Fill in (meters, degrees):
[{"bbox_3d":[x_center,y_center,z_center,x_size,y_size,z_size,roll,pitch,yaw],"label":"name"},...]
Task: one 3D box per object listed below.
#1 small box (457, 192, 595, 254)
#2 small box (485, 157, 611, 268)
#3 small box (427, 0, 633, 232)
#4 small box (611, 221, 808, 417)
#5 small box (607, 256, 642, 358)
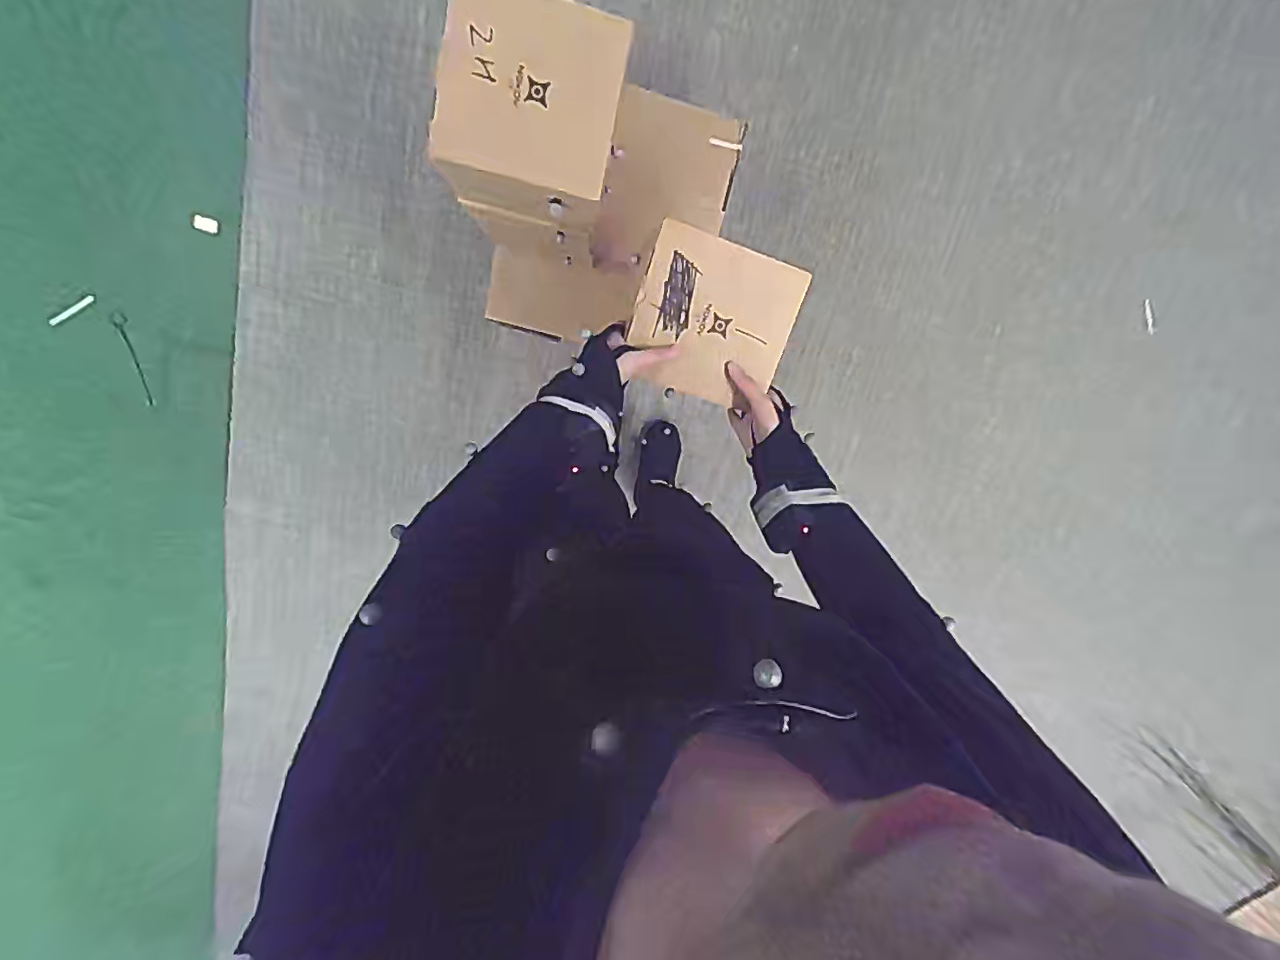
[{"bbox_3d":[-0.143,-0.434,0.767,0.179,0.176,0.168,10,102,-10],"label":"small box"},{"bbox_3d":[-0.153,-0.470,0.924,0.179,0.176,0.168,10,103,-7],"label":"small box"},{"bbox_3d":[-0.117,-0.396,0.608,0.179,0.176,0.168,12,101,-9],"label":"small box"},{"bbox_3d":[0.068,-0.191,0.665,0.179,0.176,0.168,16,104,-10],"label":"small box"},{"bbox_3d":[0.039,-0.287,0.992,0.168,0.176,0.179,15,103,-10],"label":"small box"}]
